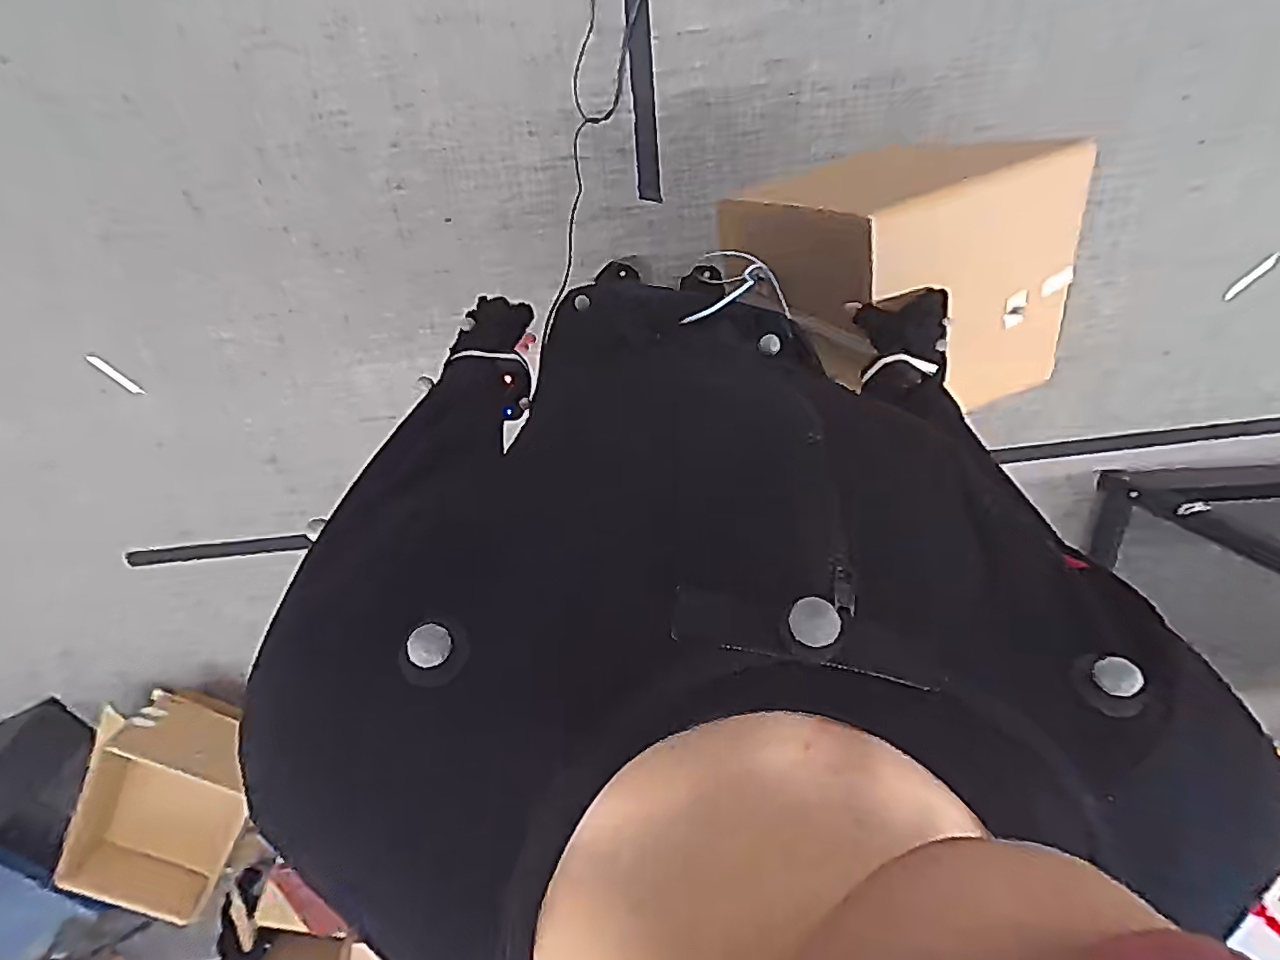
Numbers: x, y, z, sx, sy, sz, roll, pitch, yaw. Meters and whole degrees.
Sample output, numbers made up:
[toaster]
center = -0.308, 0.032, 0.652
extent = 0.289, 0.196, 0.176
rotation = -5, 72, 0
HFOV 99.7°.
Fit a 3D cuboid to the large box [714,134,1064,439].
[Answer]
[large box]
center = 0.365, -0.322, 0.872
extent = 0.320, 0.408, 0.320
rotation = -22, 122, -6
